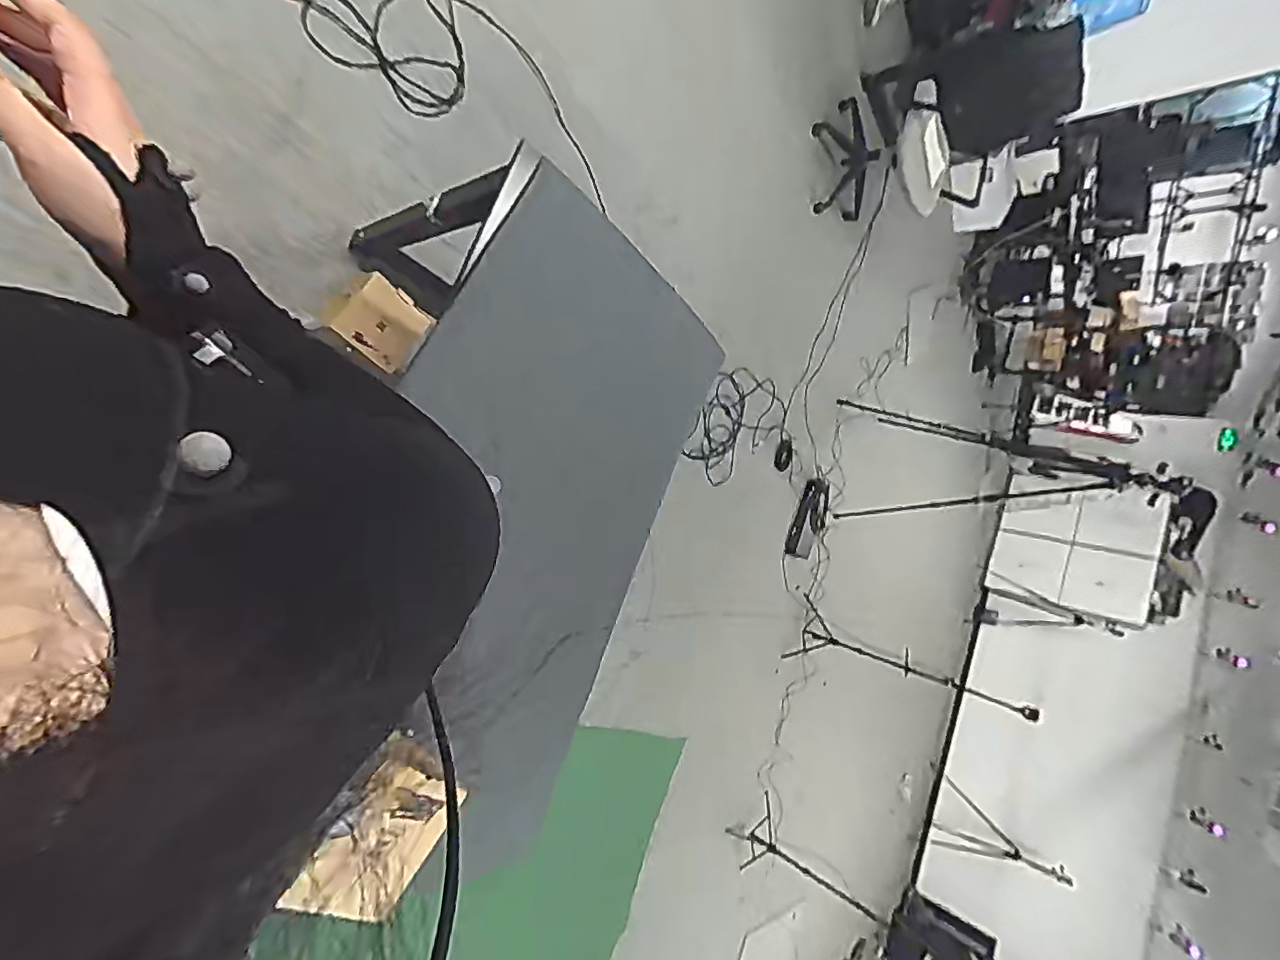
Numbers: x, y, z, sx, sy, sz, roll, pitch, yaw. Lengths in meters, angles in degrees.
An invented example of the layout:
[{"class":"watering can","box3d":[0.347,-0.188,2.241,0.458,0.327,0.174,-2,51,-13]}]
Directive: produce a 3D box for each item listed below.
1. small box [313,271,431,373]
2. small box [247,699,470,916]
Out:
[{"class":"small box","box3d":[-0.661,-0.384,1.329,0.168,0.176,0.179,46,64,-42]},{"class":"small box","box3d":[-0.375,0.427,0.724,0.179,0.176,0.168,-55,135,-25]}]
